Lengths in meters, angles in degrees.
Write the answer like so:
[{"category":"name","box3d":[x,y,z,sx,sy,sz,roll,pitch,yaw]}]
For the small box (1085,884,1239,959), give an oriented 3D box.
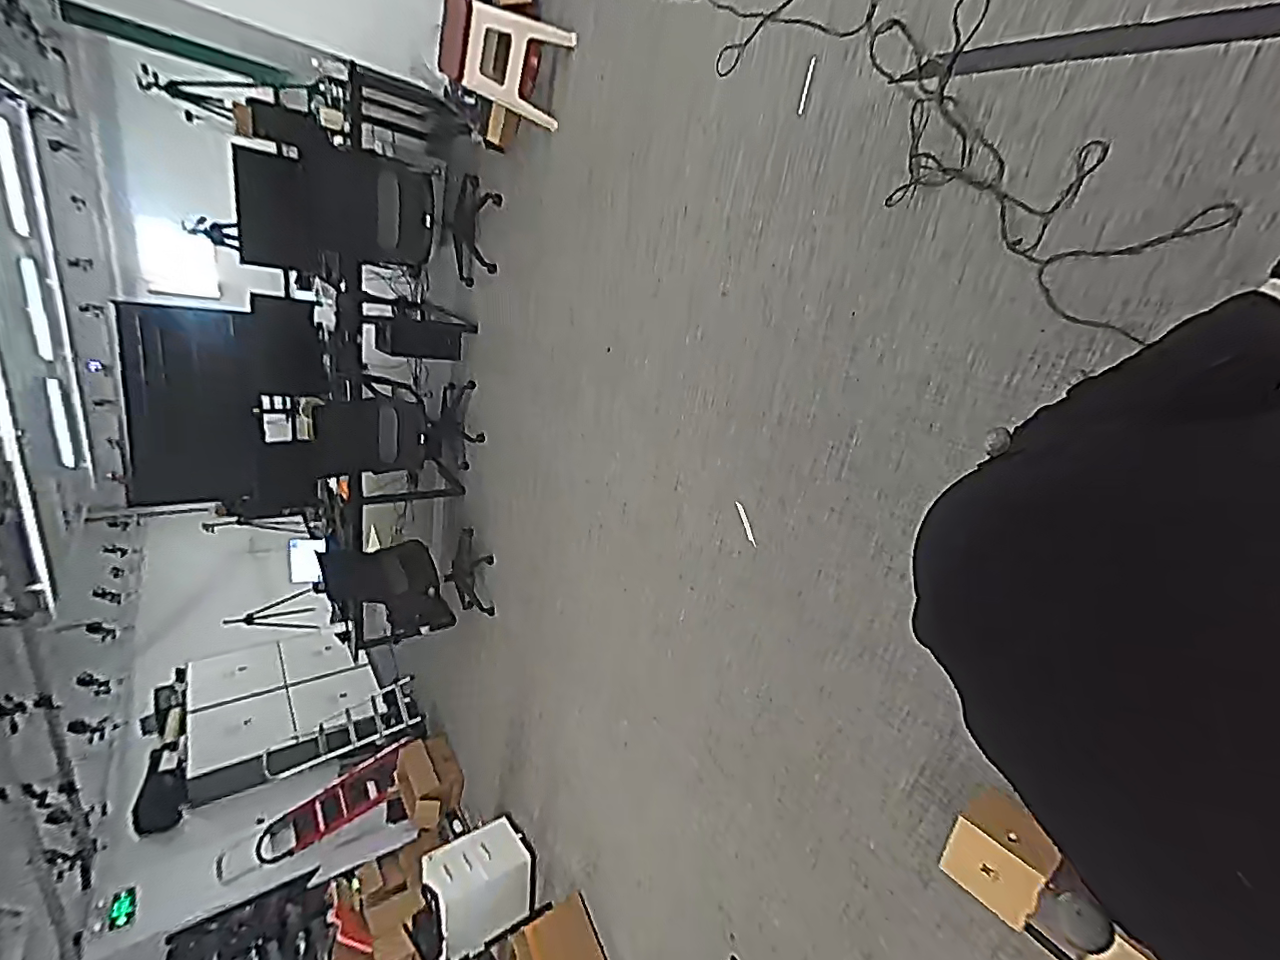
[{"category":"small box","box3d":[1.002,0.953,1.045,0.179,0.176,0.168,34,121,45]}]
